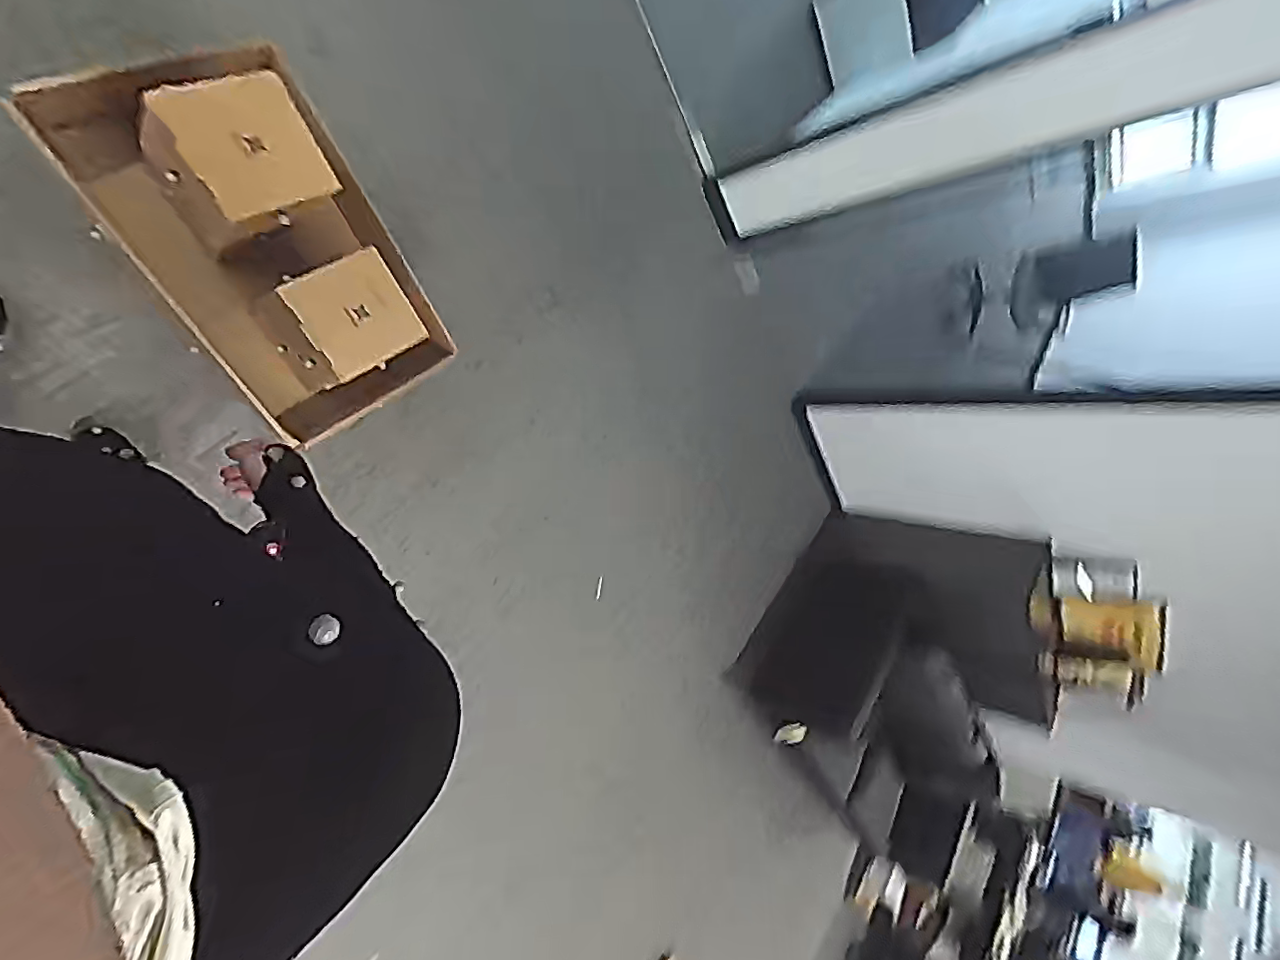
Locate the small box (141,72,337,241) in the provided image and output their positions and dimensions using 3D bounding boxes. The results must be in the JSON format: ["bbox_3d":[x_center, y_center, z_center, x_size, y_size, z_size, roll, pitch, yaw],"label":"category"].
[{"bbox_3d":[-0.616,-0.490,0.832,0.179,0.176,0.168,-41,123,-32],"label":"small box"}]

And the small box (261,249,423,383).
[{"bbox_3d":[-0.525,-0.278,0.946,0.179,0.176,0.168,-43,124,-32],"label":"small box"}]

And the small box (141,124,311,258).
[{"bbox_3d":[-0.728,-0.515,0.949,0.168,0.176,0.179,-42,123,-32],"label":"small box"}]
